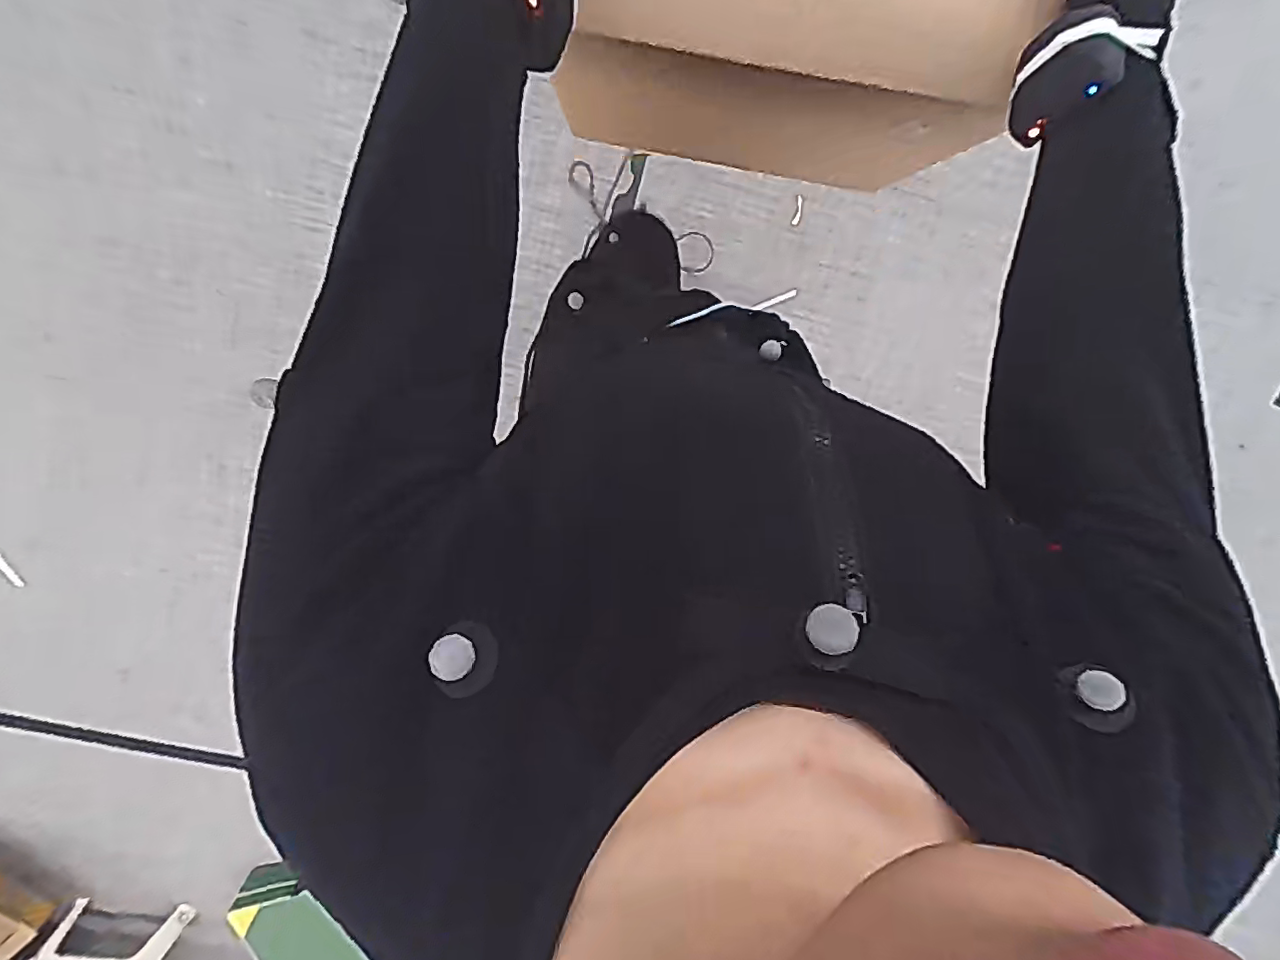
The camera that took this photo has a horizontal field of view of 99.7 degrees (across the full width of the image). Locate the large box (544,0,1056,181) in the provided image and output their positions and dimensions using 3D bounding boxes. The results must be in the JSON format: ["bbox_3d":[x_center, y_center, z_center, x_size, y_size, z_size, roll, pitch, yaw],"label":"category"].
[{"bbox_3d":[0.135,-0.518,0.526,0.408,0.320,0.320,8,109,-4],"label":"large box"}]
